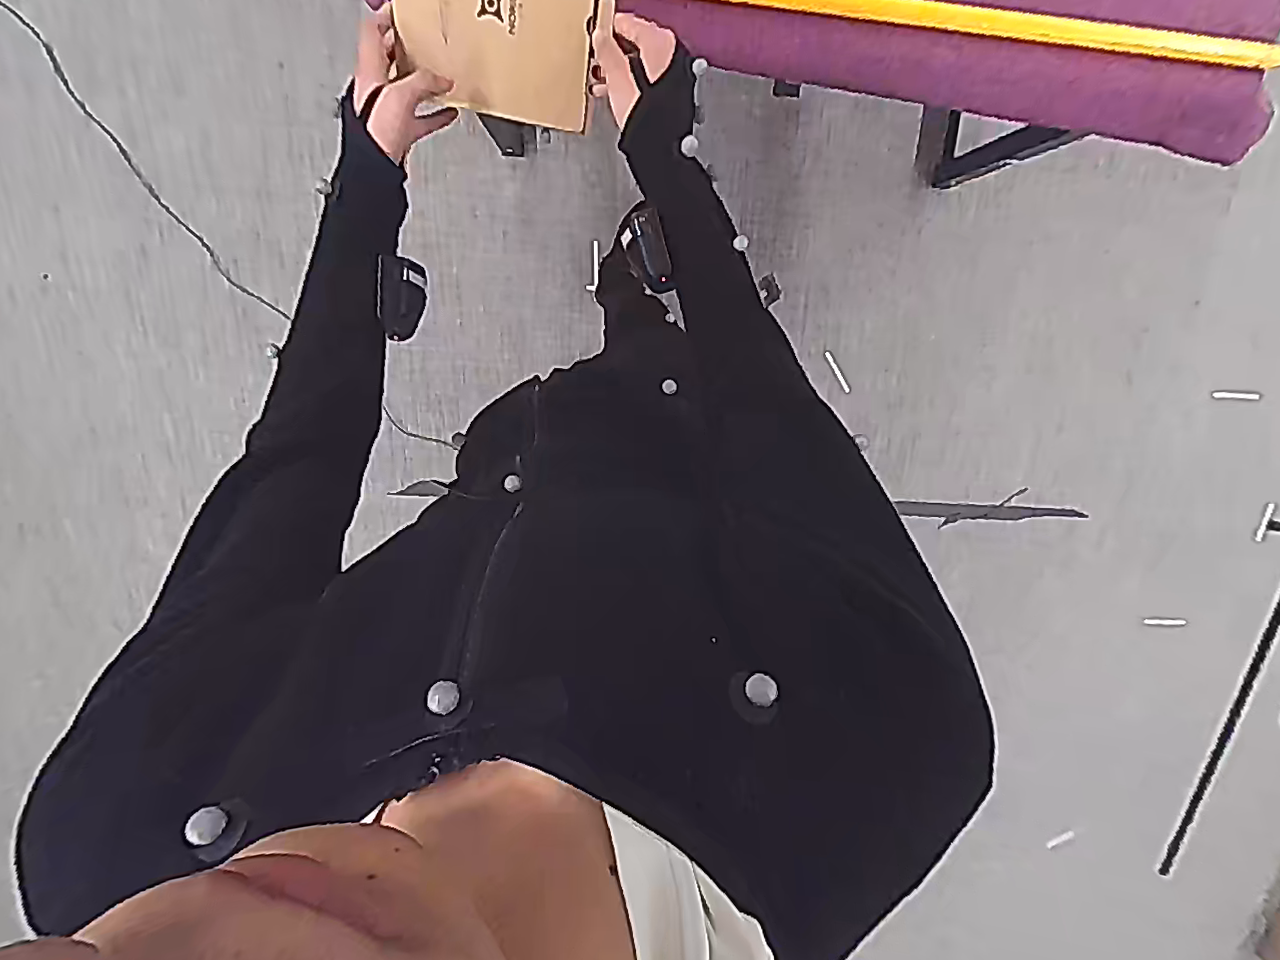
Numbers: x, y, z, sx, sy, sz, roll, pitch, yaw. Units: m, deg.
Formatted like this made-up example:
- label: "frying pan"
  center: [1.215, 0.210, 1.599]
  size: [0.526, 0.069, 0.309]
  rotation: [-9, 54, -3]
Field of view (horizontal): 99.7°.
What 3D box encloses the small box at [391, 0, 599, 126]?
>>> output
- label: "small box"
  center: [-0.130, -0.463, 0.531]
  size: [0.179, 0.176, 0.168]
  rotation: [7, 122, -8]
